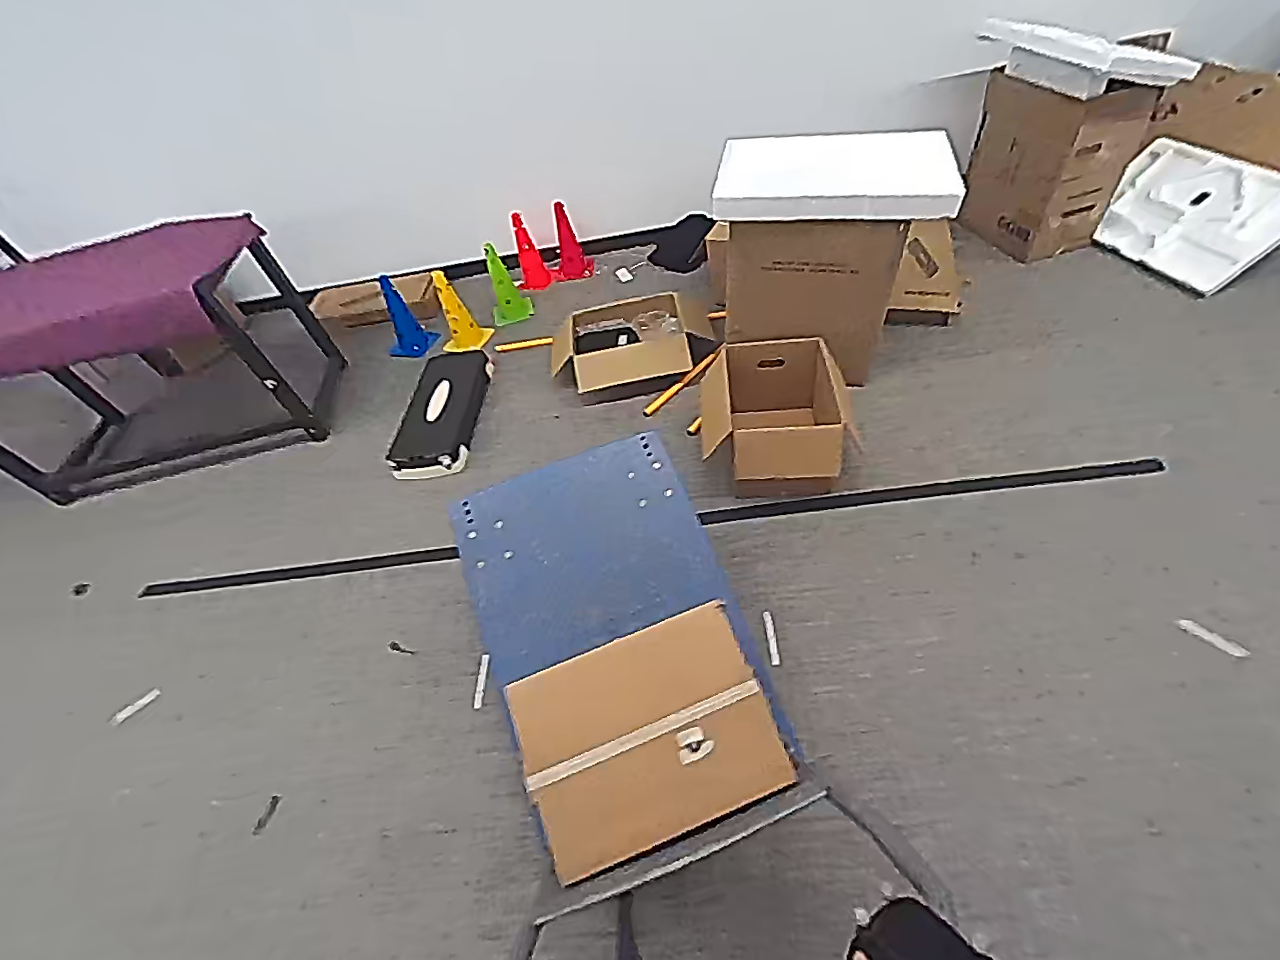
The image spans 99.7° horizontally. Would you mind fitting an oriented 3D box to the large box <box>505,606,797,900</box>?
[{"bbox_3d":[0.012,0.478,1.015,0.408,0.320,0.320,-21,71,-7],"label":"large box"}]
